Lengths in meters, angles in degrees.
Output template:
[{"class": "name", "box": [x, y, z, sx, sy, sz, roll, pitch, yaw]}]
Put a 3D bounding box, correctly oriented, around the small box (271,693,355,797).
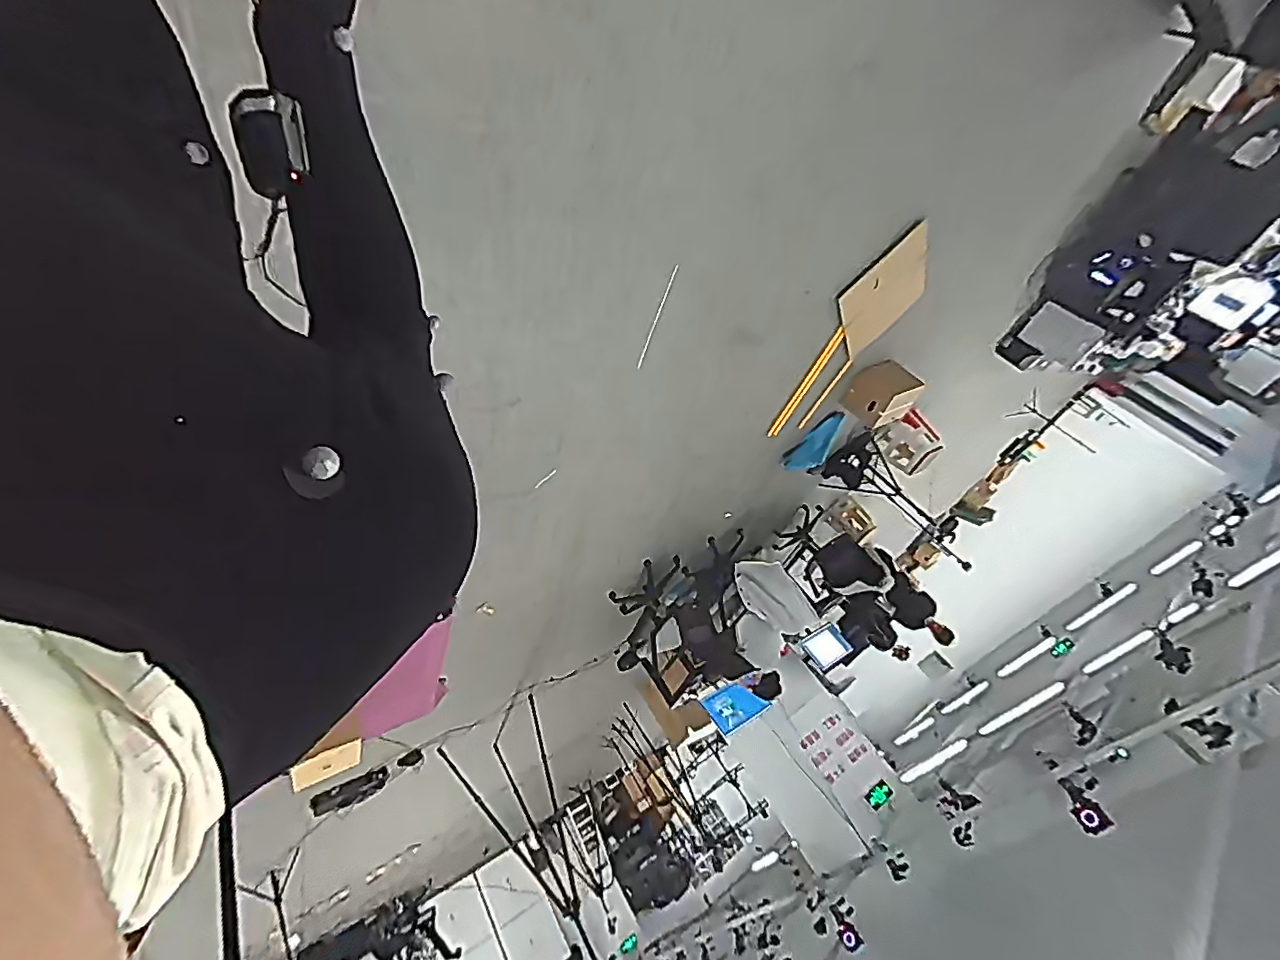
[{"class": "small box", "box": [-0.894, 0.718, 1.478, 0.168, 0.176, 0.179, -12, 141, -39]}]
